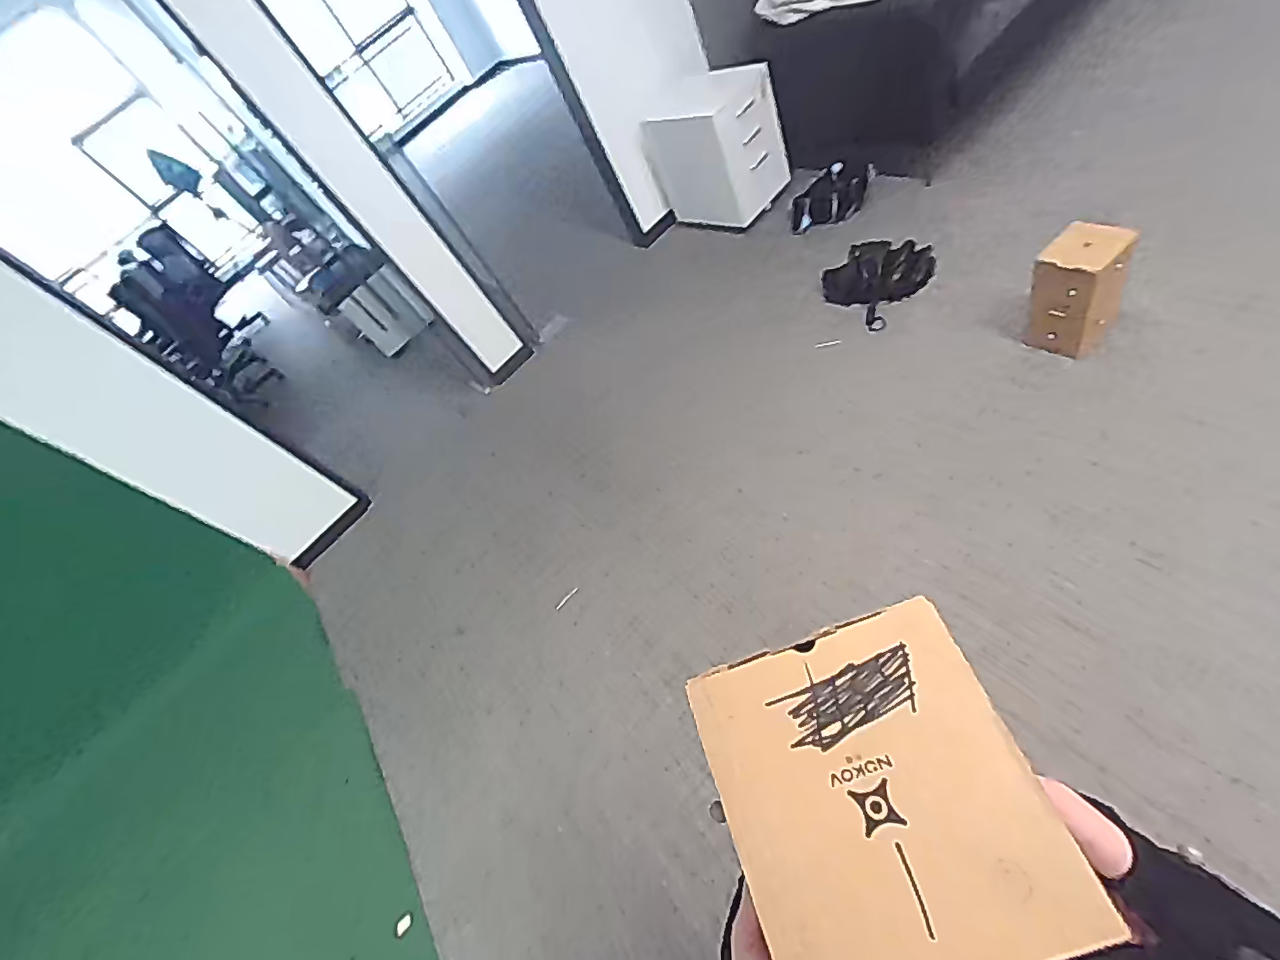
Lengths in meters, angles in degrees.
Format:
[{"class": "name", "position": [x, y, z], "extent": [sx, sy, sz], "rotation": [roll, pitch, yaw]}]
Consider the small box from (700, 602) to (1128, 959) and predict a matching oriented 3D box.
[{"class": "small box", "position": [0.154, 0.211, 0.373], "extent": [0.168, 0.176, 0.179], "rotation": [-21, 60, 5]}]
